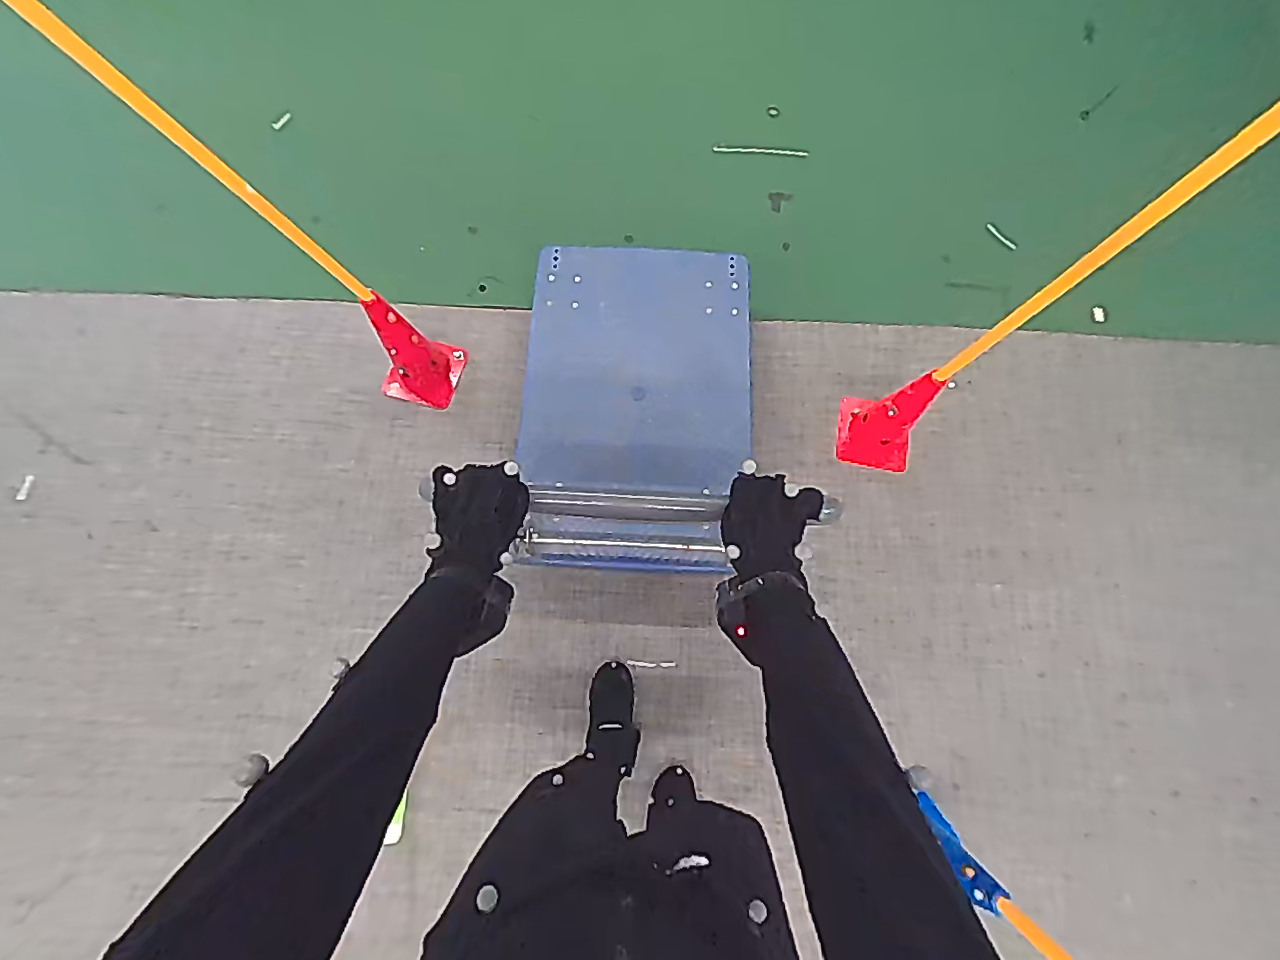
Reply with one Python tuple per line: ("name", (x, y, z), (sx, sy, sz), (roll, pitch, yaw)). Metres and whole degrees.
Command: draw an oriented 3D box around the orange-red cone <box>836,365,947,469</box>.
("orange-red cone", (0.655, -0.184, 1.348), (0.198, 0.360, 0.199), (13, 75, 4))
